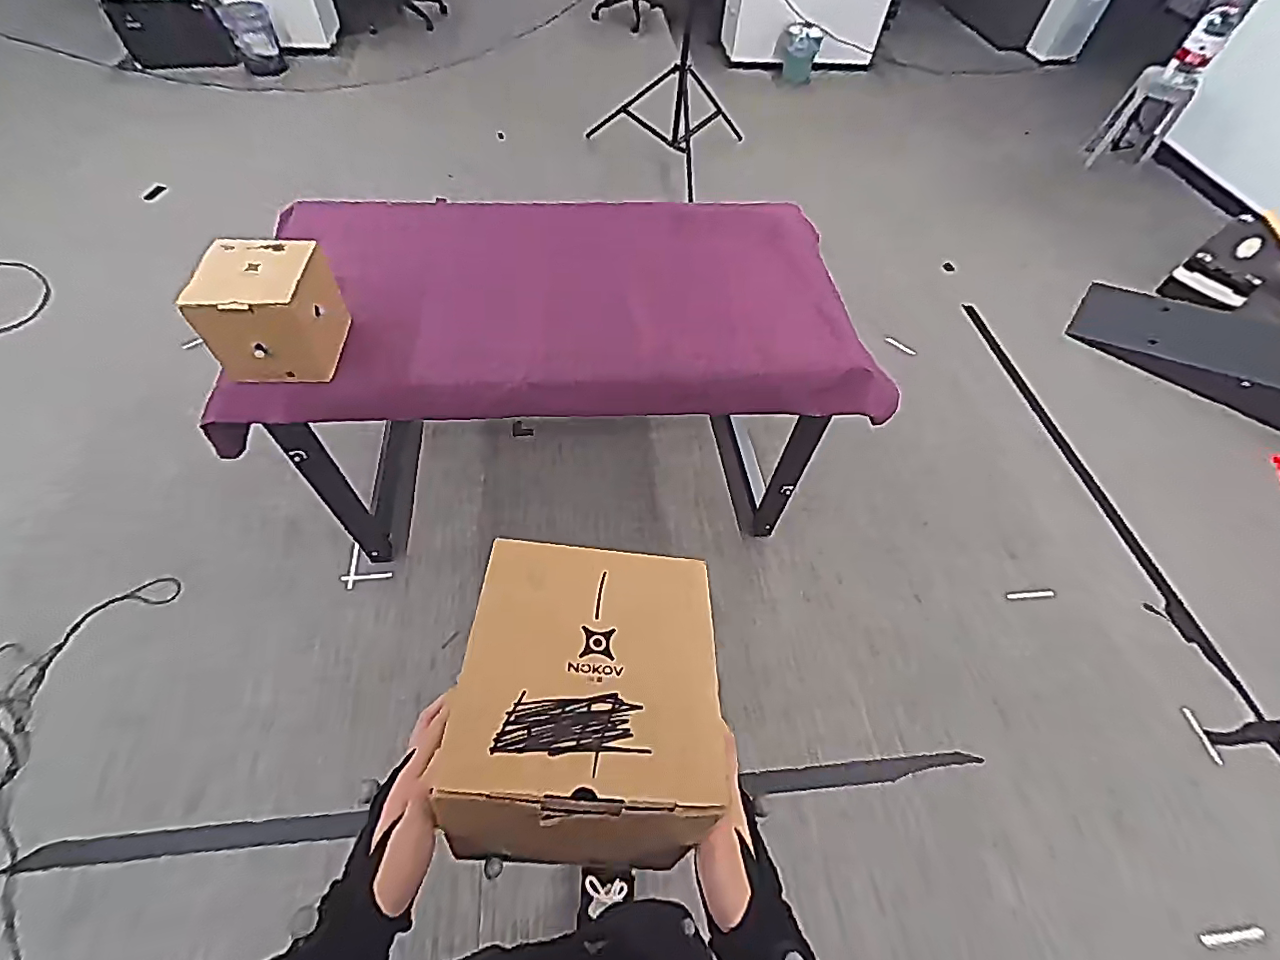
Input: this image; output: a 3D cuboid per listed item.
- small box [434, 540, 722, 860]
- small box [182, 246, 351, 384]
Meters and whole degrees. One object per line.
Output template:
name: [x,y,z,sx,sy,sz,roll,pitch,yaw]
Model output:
small box: [-0.043,0.172,0.416,0.168,0.176,0.179,7,43,-6]
small box: [-0.632,-0.282,0.944,0.168,0.176,0.179,-2,56,-6]
